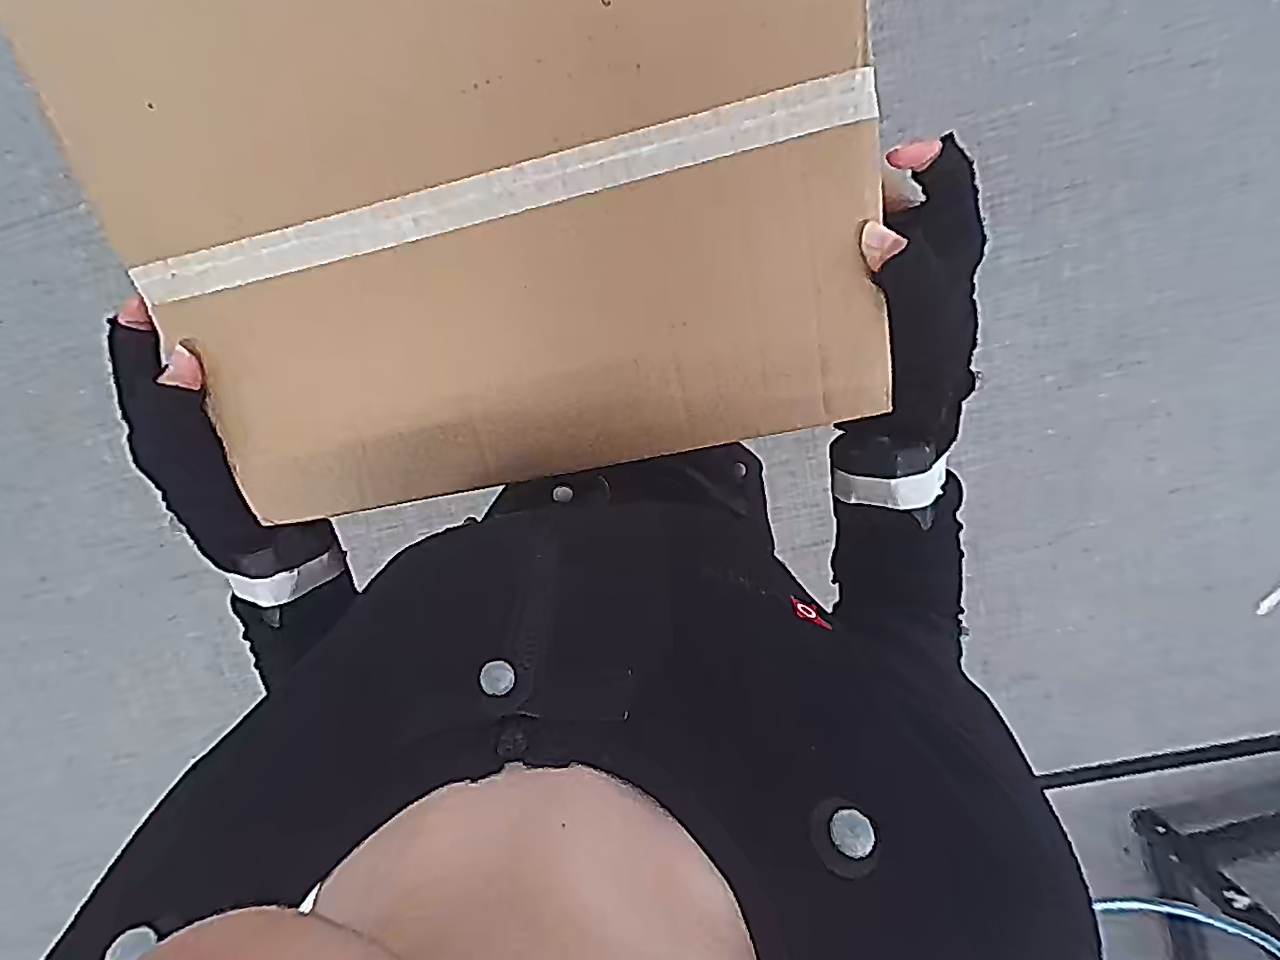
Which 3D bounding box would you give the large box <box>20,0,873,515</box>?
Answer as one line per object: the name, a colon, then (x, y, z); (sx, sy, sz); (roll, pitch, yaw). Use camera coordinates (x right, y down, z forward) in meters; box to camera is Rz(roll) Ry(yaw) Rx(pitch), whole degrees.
large box: (-0.078, -0.206, 0.431); (0.408, 0.320, 0.320); (-10, 110, 8)
